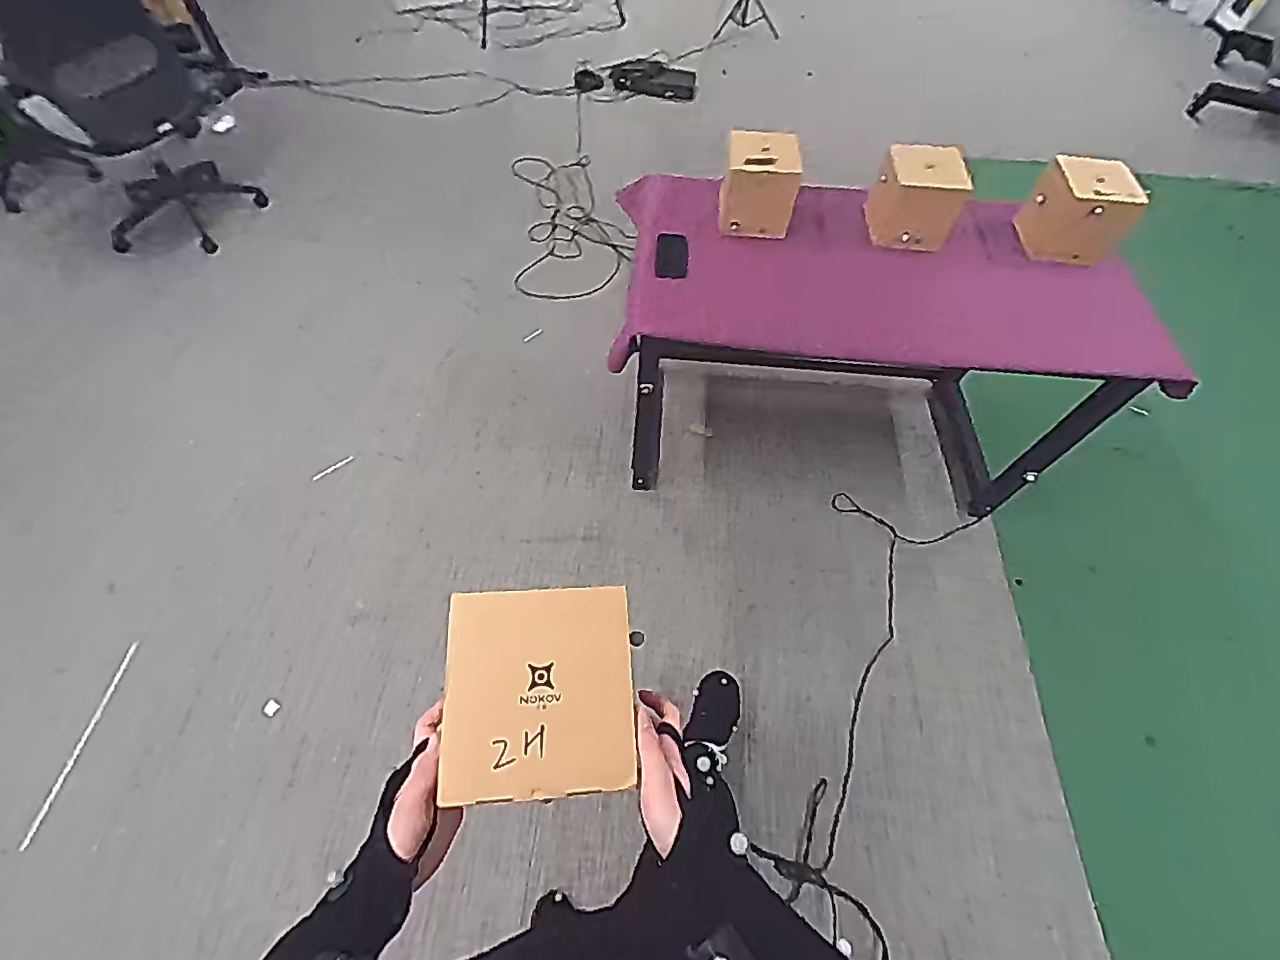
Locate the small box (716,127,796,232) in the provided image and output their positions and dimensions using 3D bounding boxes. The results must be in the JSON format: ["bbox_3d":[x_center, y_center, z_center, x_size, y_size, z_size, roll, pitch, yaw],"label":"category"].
[{"bbox_3d":[0.280,-0.736,1.333,0.168,0.176,0.179,4,59,1],"label":"small box"}]

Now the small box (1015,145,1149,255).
[{"bbox_3d":[1.052,-0.677,1.310,0.168,0.176,0.179,5,59,3],"label":"small box"}]

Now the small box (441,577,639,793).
[{"bbox_3d":[-0.093,0.207,0.554,0.168,0.176,0.179,-2,67,-5],"label":"small box"}]

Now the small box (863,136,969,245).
[{"bbox_3d":[0.663,-0.708,1.325,0.168,0.176,0.179,4,60,3],"label":"small box"}]
